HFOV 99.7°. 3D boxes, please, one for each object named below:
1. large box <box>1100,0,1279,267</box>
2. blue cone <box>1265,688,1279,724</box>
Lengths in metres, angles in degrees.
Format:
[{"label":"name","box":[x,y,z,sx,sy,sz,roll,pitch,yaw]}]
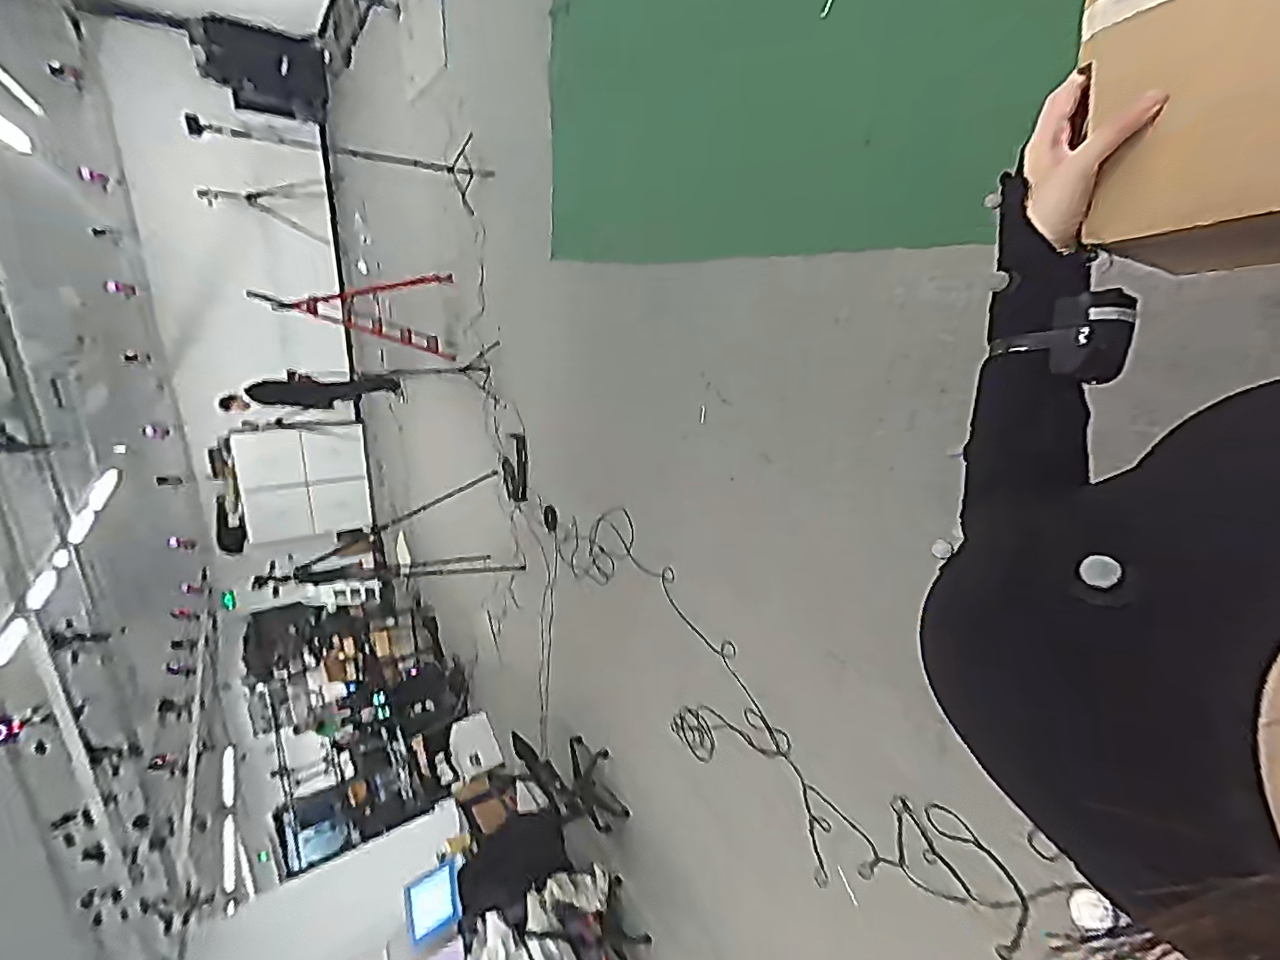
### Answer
[{"label":"large box","box":[0.574,-0.340,0.319,0.408,0.320,0.320,10,106,51]},{"label":"blue cone","box":[1.169,0.442,0.883,0.193,0.380,0.192,36,126,45]}]
